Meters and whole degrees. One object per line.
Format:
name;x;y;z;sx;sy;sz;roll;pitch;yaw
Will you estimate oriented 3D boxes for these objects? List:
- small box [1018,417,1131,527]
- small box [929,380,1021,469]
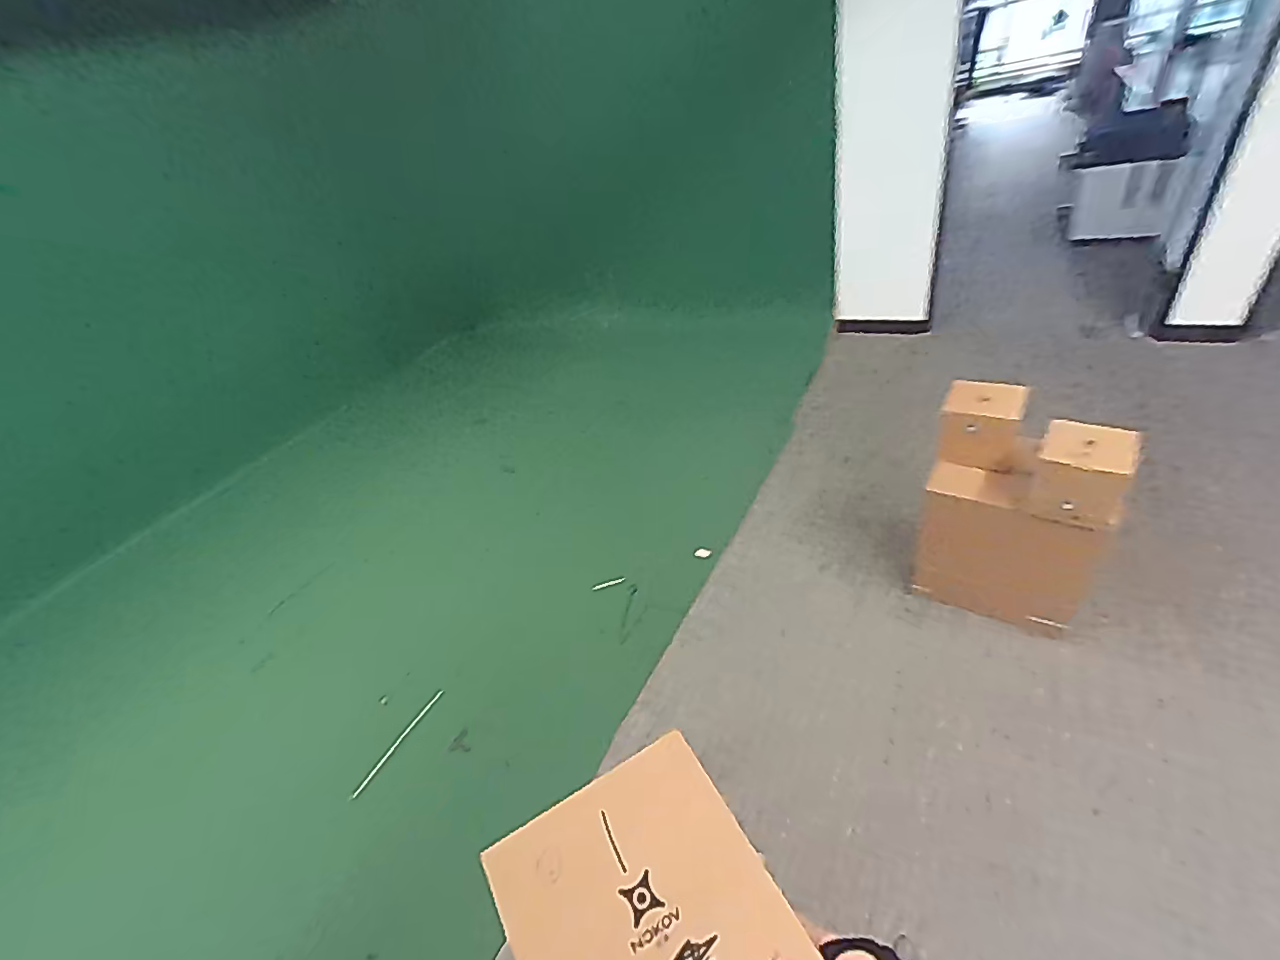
small box;1.021;-0.021;1.278;0.168;0.176;0.179;17;48;35
small box;0.912;-0.151;1.480;0.179;0.176;0.168;14;46;34
